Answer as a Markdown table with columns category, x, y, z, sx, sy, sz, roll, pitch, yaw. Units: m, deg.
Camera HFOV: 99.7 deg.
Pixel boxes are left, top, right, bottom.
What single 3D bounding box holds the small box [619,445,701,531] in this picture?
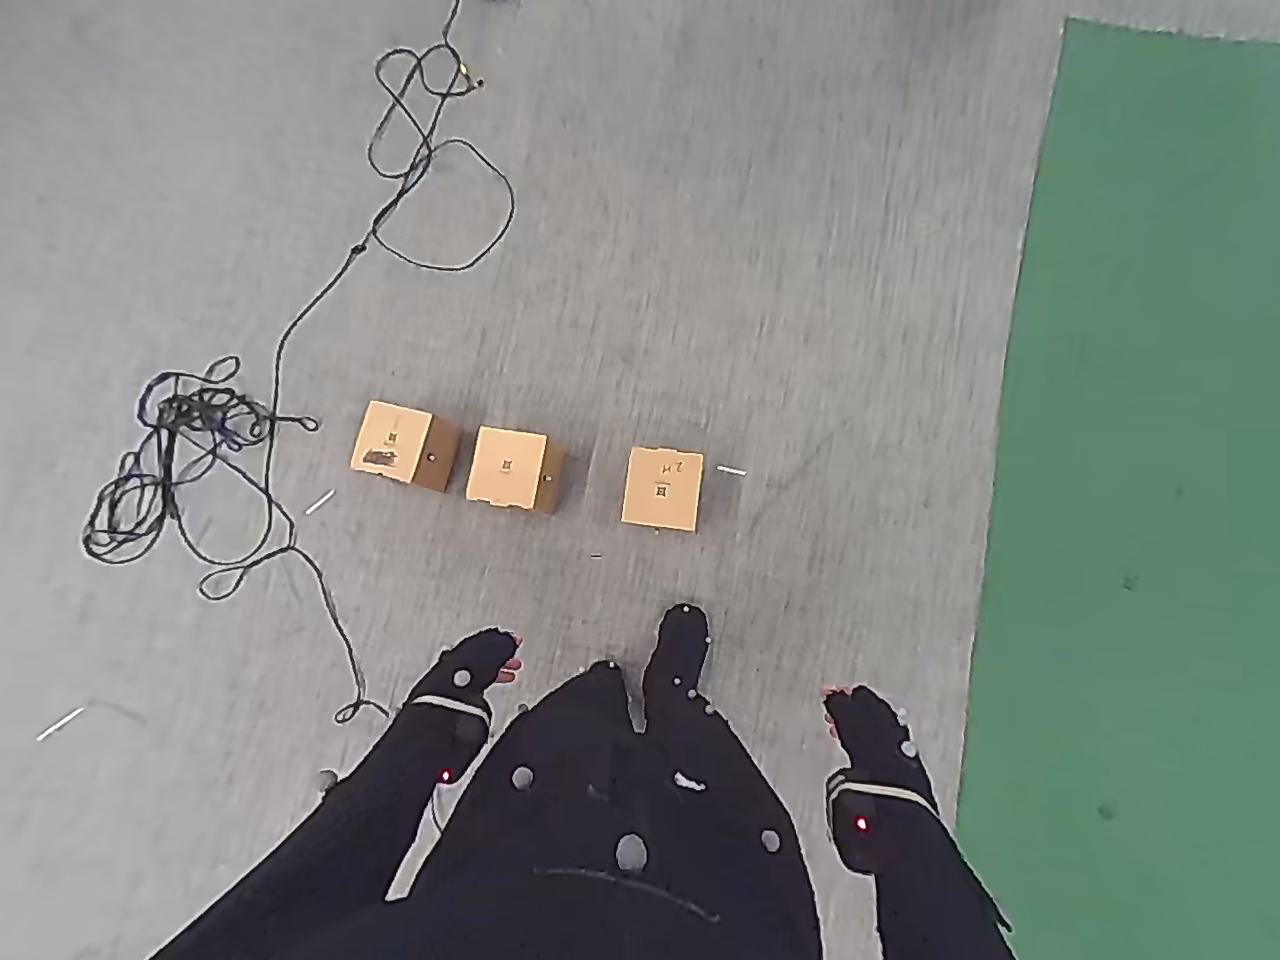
| category | x | y | z | sx | sy | sz | roll | pitch | yaw |
| --- | --- | --- | --- | --- | --- | --- | --- | --- | --- |
| small box | 0.053 | 0.026 | 1.285 | 0.168 | 0.176 | 0.179 | 7 | 82 | 6 |

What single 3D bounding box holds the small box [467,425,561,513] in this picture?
| category | x | y | z | sx | sy | sz | roll | pitch | yaw |
| --- | --- | --- | --- | --- | --- | --- | --- | --- | --- |
| small box | -0.301 | -0.023 | 1.329 | 0.168 | 0.176 | 0.179 | 8 | 83 | 7 |

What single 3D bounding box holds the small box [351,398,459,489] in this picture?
| category | x | y | z | sx | sy | sz | roll | pitch | yaw |
| --- | --- | --- | --- | --- | --- | --- | --- | --- | --- |
| small box | -0.583 | -0.084 | 1.365 | 0.168 | 0.176 | 0.179 | 14 | 82 | 8 |
